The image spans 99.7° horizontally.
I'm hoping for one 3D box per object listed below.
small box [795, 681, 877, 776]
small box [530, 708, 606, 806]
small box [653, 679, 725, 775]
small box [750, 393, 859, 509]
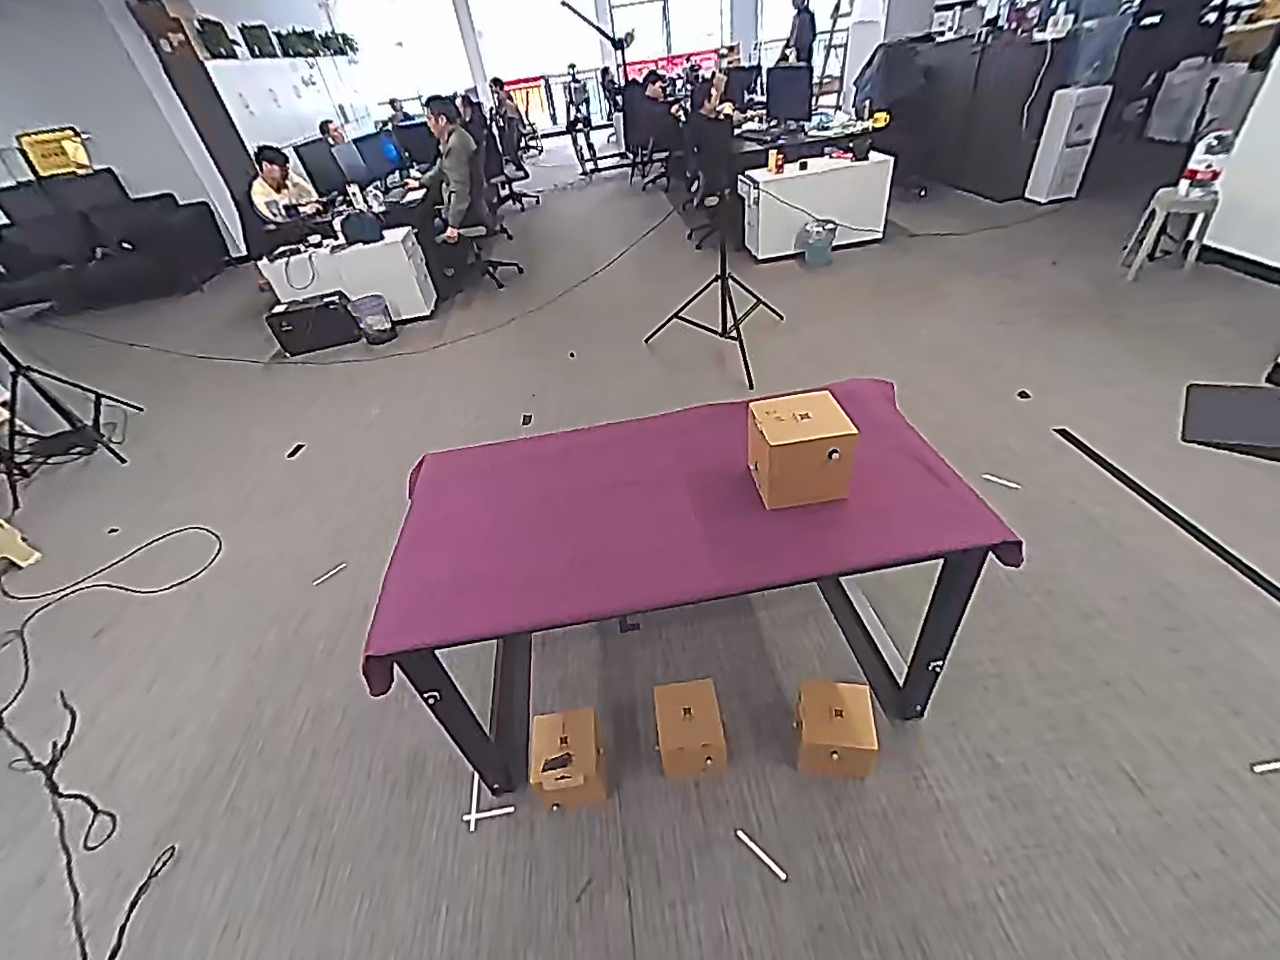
[{"bbox_3d":[0.501,0.647,1.405,0.179,0.176,0.168,0,41,13],"label":"small box"},{"bbox_3d":[-0.185,0.736,1.427,0.168,0.176,0.179,-9,38,0],"label":"small box"},{"bbox_3d":[0.131,0.668,1.451,0.168,0.176,0.179,-8,38,0],"label":"small box"},{"bbox_3d":[0.335,-0.060,1.138,0.179,0.176,0.168,-9,38,1],"label":"small box"}]
